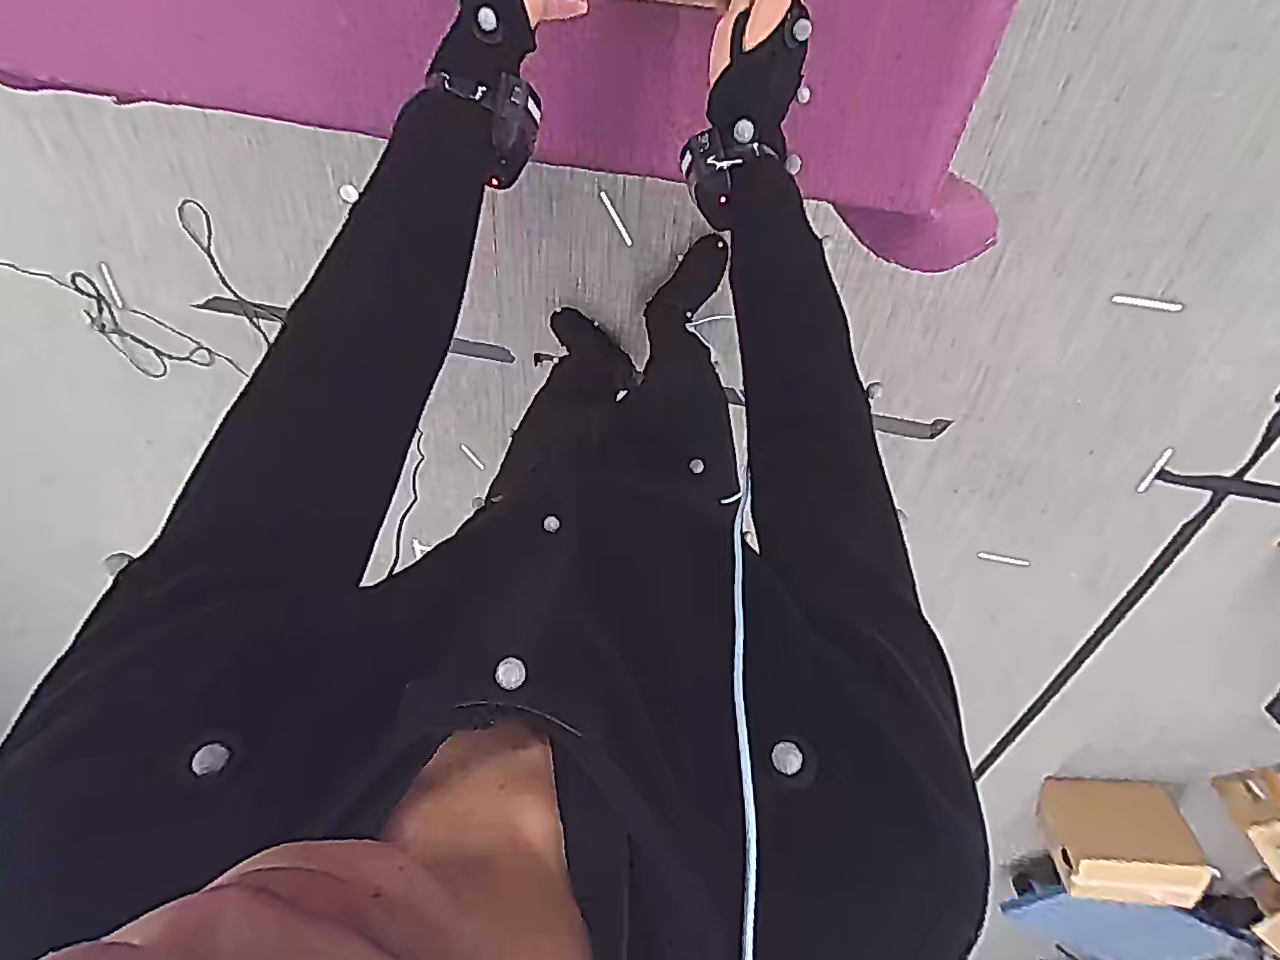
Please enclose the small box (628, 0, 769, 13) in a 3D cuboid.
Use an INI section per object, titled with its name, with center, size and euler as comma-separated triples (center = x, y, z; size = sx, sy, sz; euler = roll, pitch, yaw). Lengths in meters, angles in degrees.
[small box]
center = 0.041, -0.507, 0.441
size = 0.179, 0.176, 0.168
euler = 10, 124, 4
